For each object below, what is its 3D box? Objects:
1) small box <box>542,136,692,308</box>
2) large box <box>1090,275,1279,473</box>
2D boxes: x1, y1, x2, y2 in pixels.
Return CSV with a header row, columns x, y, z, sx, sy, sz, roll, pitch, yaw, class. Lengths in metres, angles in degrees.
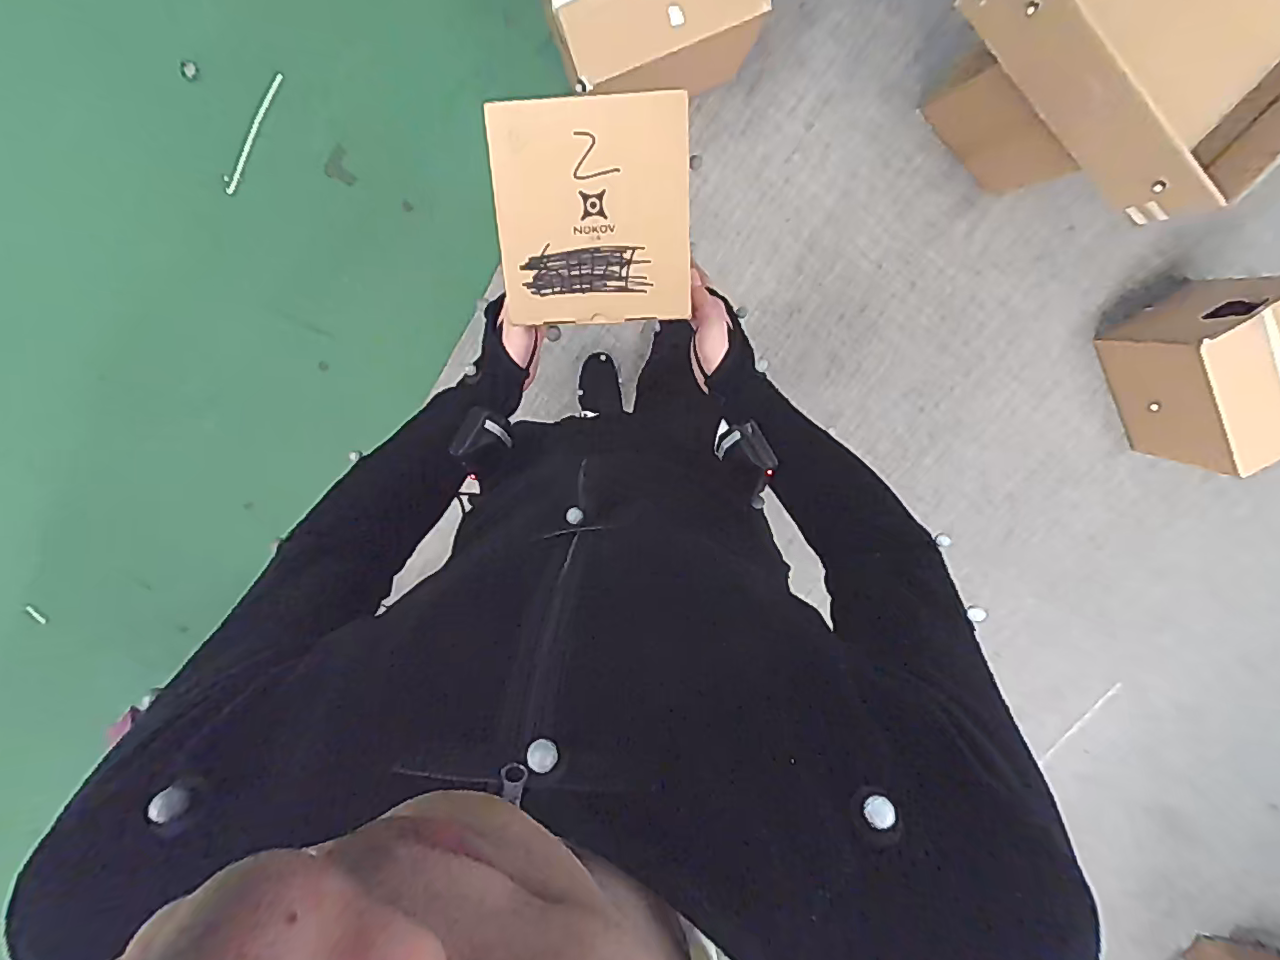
x,y,z,sx,sy,sz,roll,pitch,yaw,class
-0.021,-0.312,0.681,0.168,0.176,0.179,0,109,2,small box
1.554,-0.293,1.476,0.320,0.320,0.408,-32,105,6,large box
